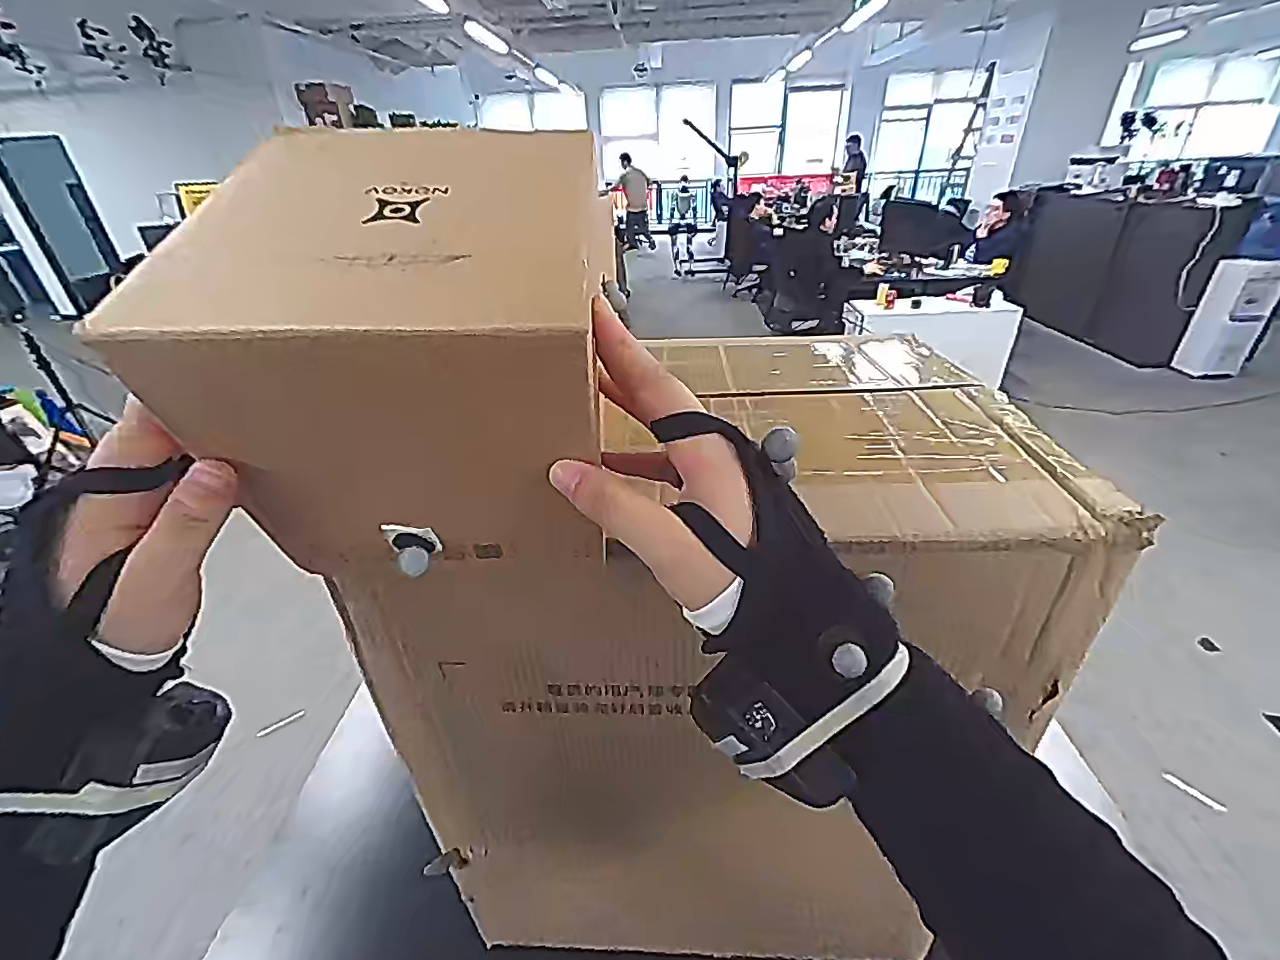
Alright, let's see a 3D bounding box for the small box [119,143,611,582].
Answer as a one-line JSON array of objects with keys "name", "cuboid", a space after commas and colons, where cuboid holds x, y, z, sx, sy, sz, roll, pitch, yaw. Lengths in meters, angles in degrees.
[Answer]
[{"name": "small box", "cuboid": [-0.103, -0.062, 0.301, 0.168, 0.176, 0.179, -3, 52, -2]}]
